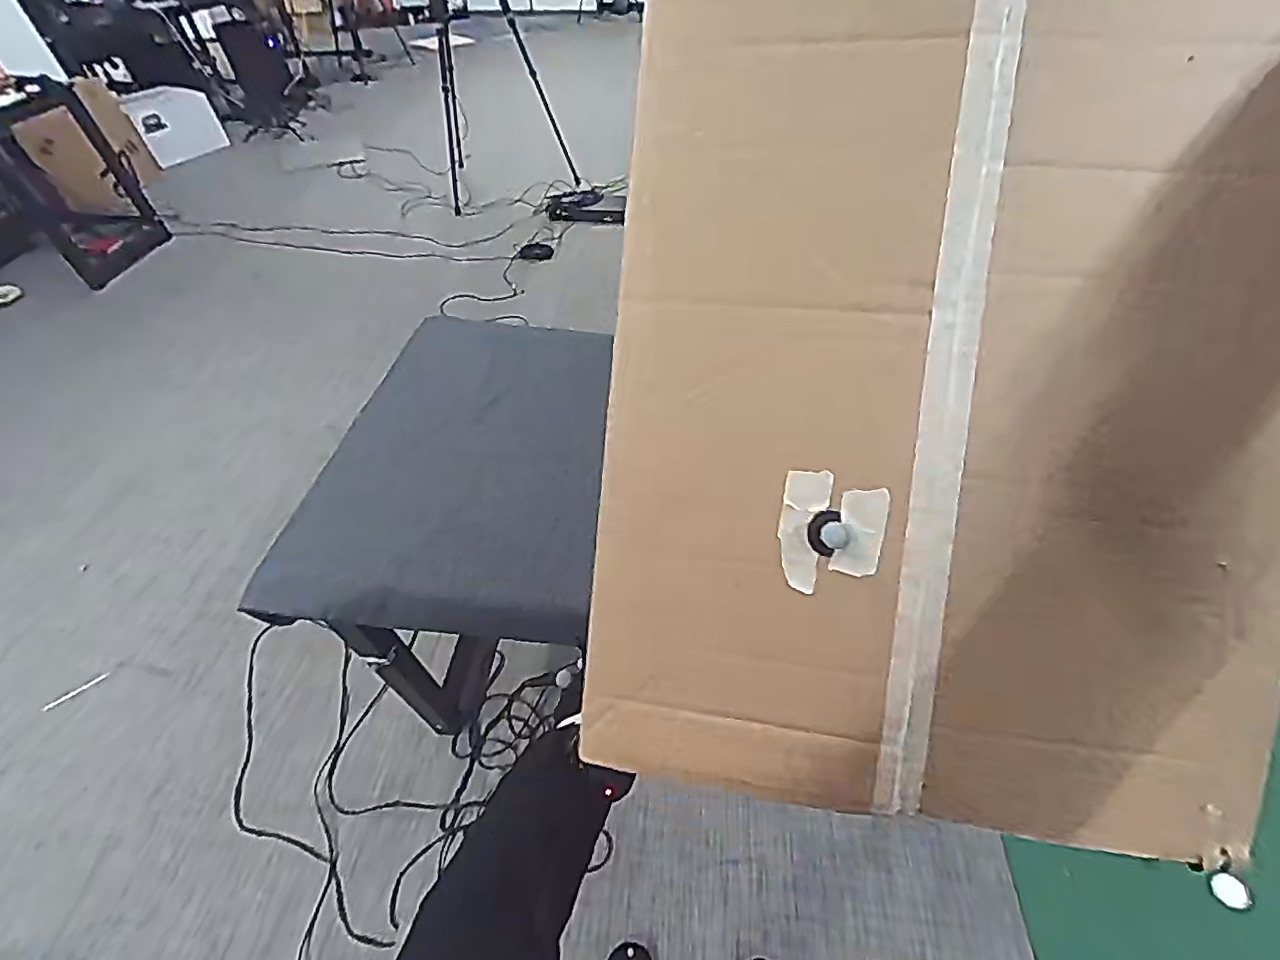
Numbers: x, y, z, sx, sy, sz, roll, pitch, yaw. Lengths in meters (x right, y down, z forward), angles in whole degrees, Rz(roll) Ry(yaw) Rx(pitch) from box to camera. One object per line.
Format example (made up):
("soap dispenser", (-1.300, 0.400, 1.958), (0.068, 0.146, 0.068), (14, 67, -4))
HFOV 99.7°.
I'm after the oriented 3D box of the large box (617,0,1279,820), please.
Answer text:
("large box", (0.166, -0.048, 0.418), (0.320, 0.408, 0.320), (5, 6, 7))
